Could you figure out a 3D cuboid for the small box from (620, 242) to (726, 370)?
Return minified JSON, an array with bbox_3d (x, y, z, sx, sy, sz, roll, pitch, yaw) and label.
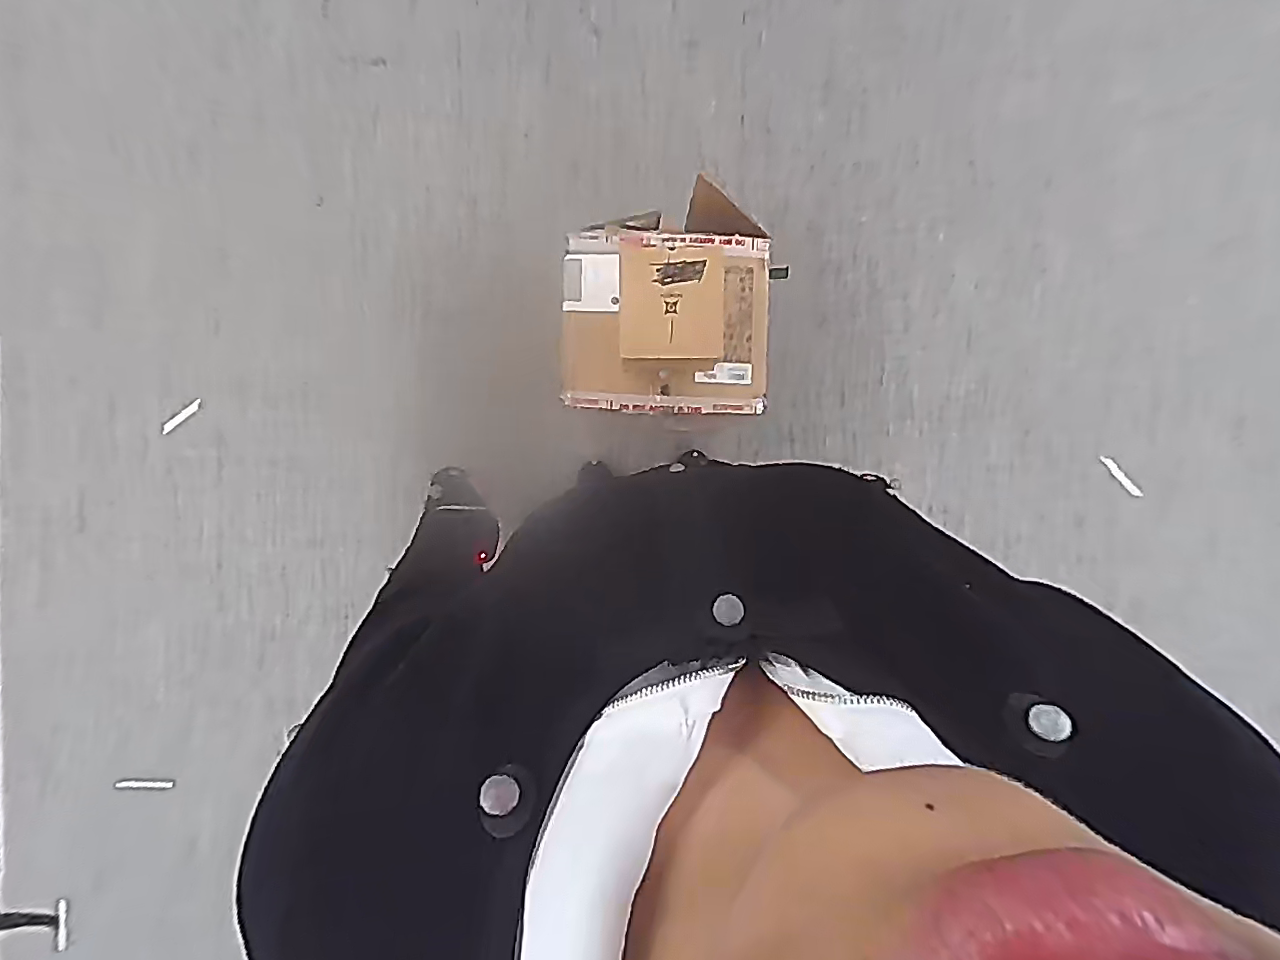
[{"bbox_3d":[0.050,-0.288,0.925,0.168,0.176,0.179,0,95,0],"label":"small box"}]
